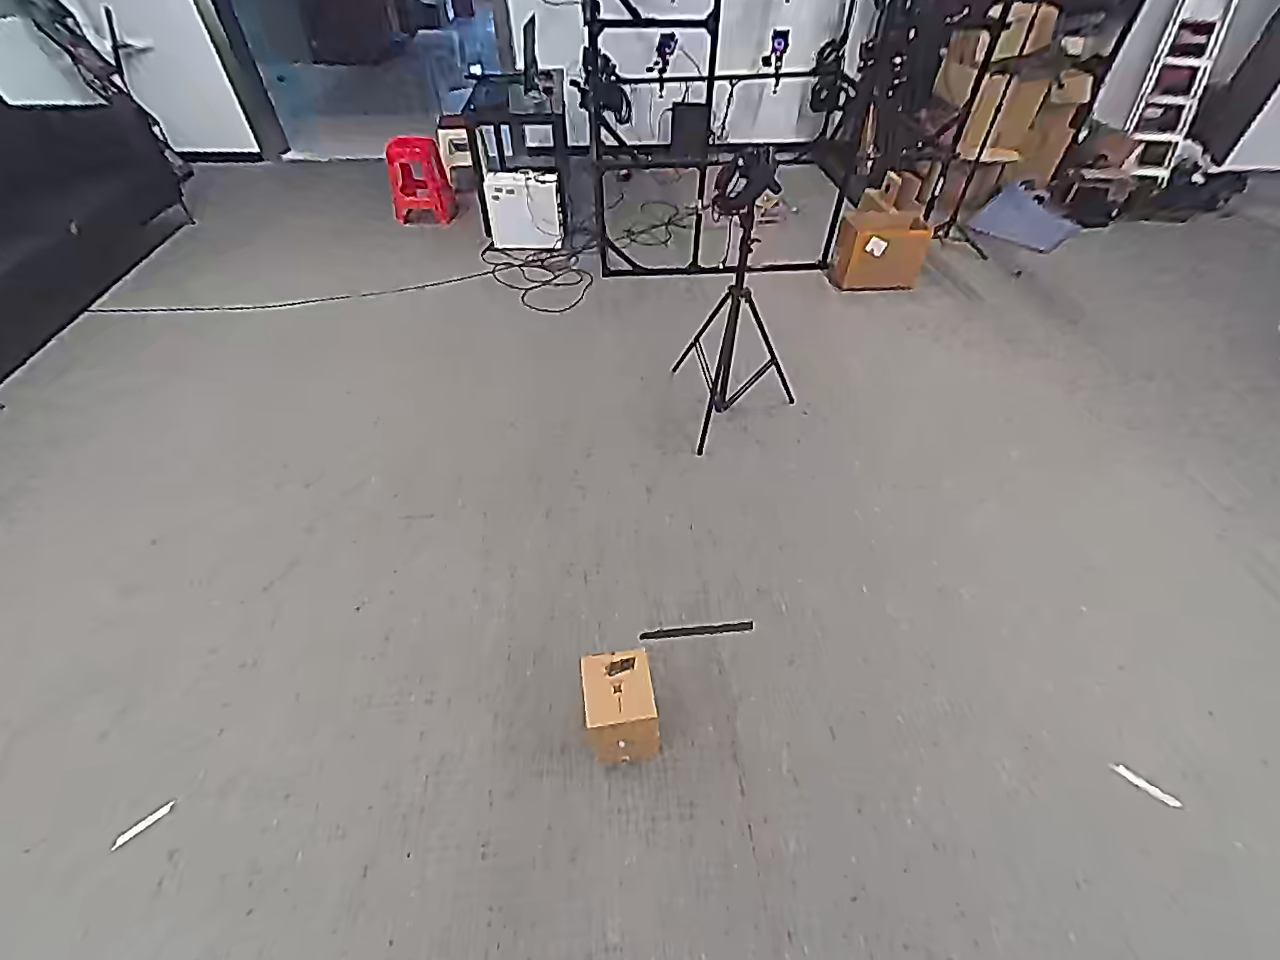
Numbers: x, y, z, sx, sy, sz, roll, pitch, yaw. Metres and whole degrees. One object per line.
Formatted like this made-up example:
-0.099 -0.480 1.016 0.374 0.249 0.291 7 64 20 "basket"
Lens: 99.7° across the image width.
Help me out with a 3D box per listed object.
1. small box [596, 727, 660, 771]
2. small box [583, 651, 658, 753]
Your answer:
-0.045 0.663 1.473 0.168 0.176 0.179 -8 47 -7 "small box"
-0.052 0.554 1.350 0.168 0.176 0.179 -7 48 -6 "small box"
